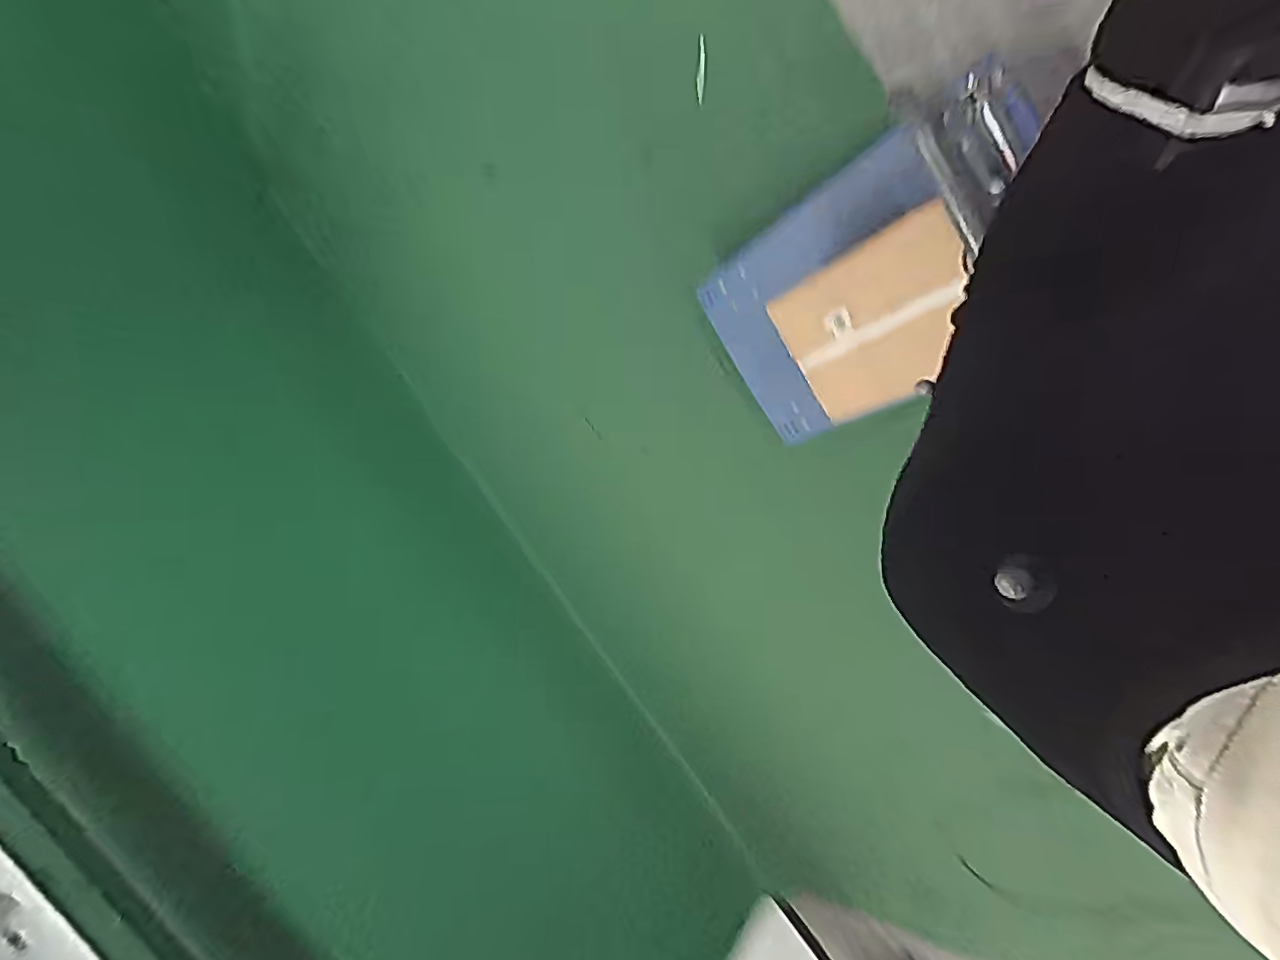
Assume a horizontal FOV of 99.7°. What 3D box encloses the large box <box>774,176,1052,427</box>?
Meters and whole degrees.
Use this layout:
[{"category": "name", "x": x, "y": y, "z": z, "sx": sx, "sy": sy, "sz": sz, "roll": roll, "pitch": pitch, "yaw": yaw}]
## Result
[{"category": "large box", "x": 0.587, "y": -0.374, "z": 1.183, "sx": 0.408, "sy": 0.320, "sz": 0.320, "roll": -23, "pitch": 102, "yaw": 51}]
